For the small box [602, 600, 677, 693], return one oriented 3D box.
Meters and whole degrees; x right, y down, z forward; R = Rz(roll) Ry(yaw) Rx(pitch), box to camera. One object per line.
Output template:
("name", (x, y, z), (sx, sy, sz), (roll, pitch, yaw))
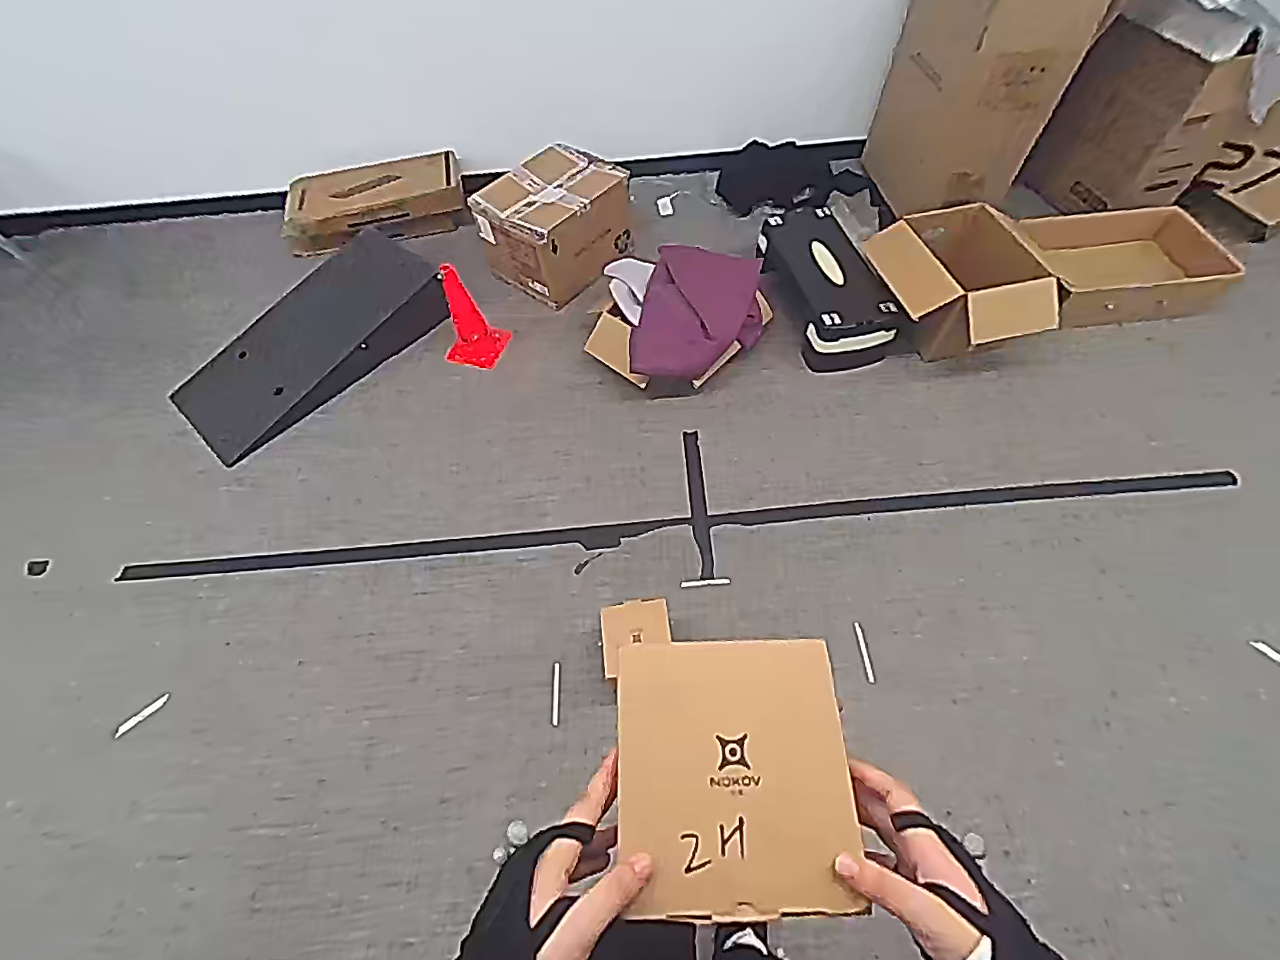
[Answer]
("small box", (0.000, 0.419, 1.353), (0.168, 0.176, 0.179), (-8, 59, 0))
